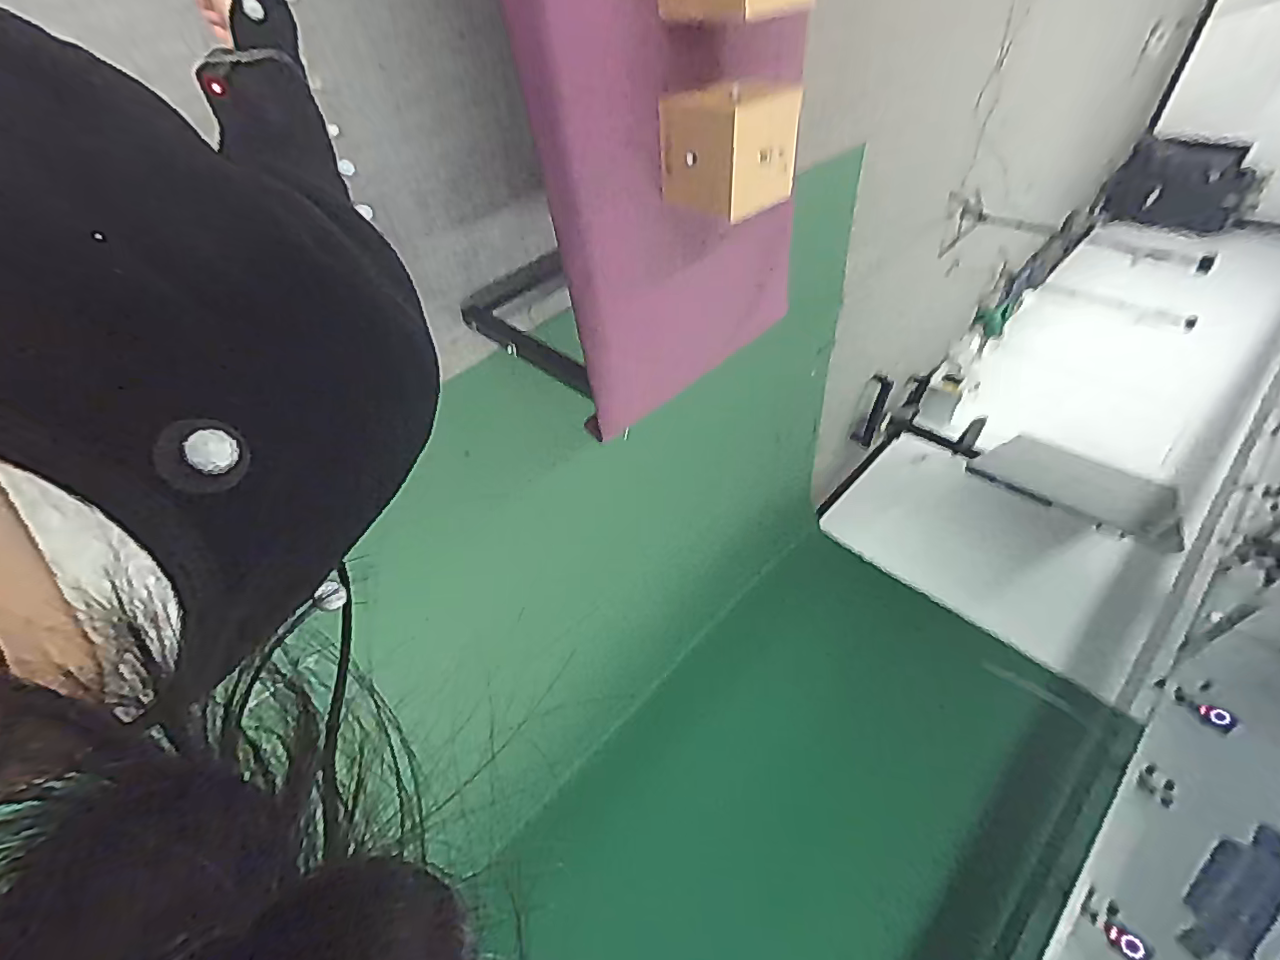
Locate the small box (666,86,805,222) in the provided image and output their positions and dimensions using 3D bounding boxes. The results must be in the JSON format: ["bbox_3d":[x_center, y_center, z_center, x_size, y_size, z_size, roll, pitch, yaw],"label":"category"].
[{"bbox_3d":[0.158,-0.574,0.945,0.179,0.176,0.168,-35,142,-28],"label":"small box"}]
